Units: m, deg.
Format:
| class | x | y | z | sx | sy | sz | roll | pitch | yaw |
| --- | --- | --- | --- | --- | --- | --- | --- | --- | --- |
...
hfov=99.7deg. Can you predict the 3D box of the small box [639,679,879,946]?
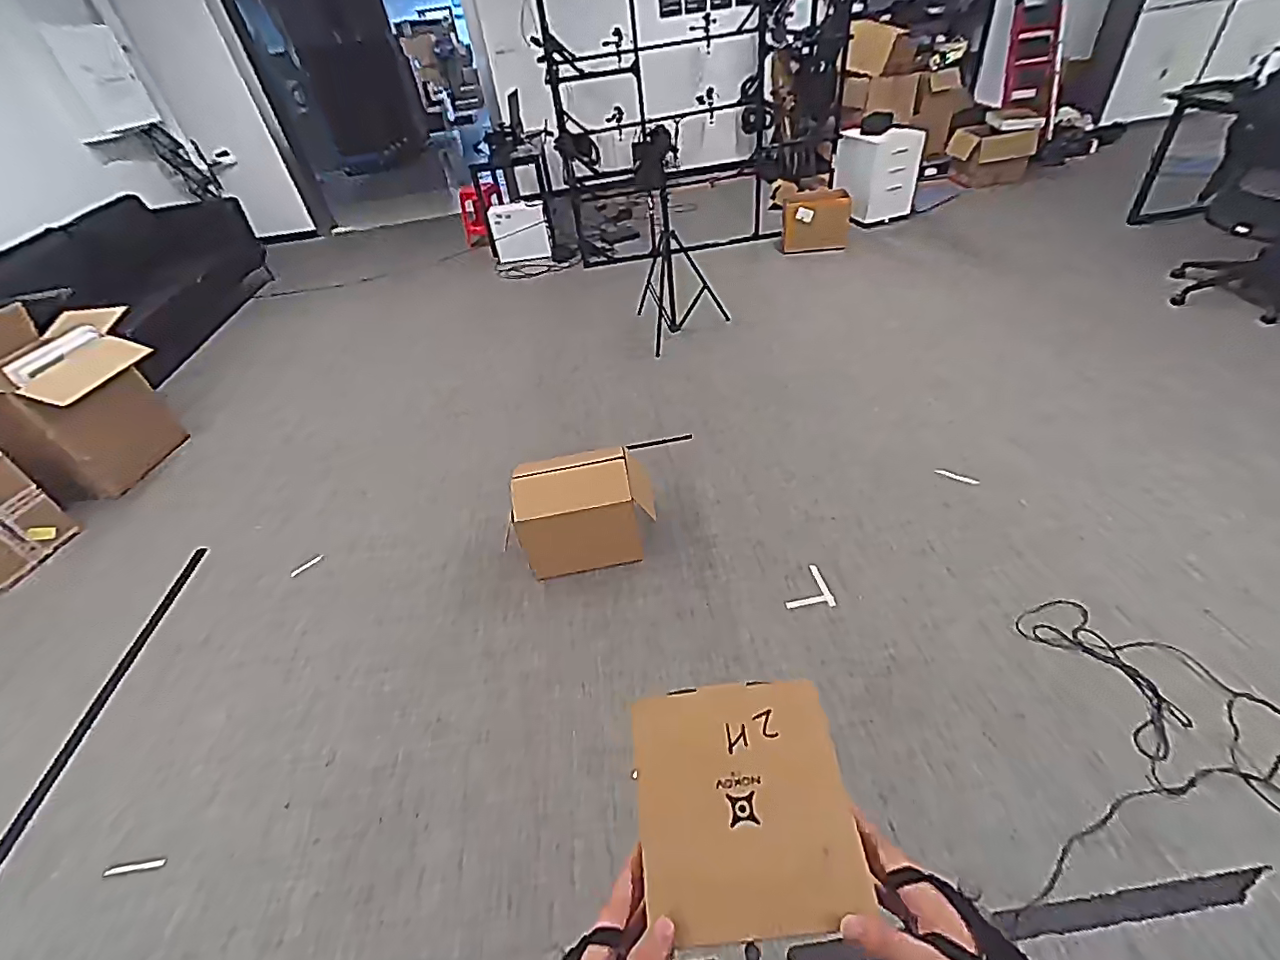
| class | x | y | z | sx | sy | sz | roll | pitch | yaw |
| --- | --- | --- | --- | --- | --- | --- | --- | --- | --- |
| small box | 0.092 | 0.305 | 0.498 | 0.168 | 0.176 | 0.179 | -6 | 50 | 0 |
